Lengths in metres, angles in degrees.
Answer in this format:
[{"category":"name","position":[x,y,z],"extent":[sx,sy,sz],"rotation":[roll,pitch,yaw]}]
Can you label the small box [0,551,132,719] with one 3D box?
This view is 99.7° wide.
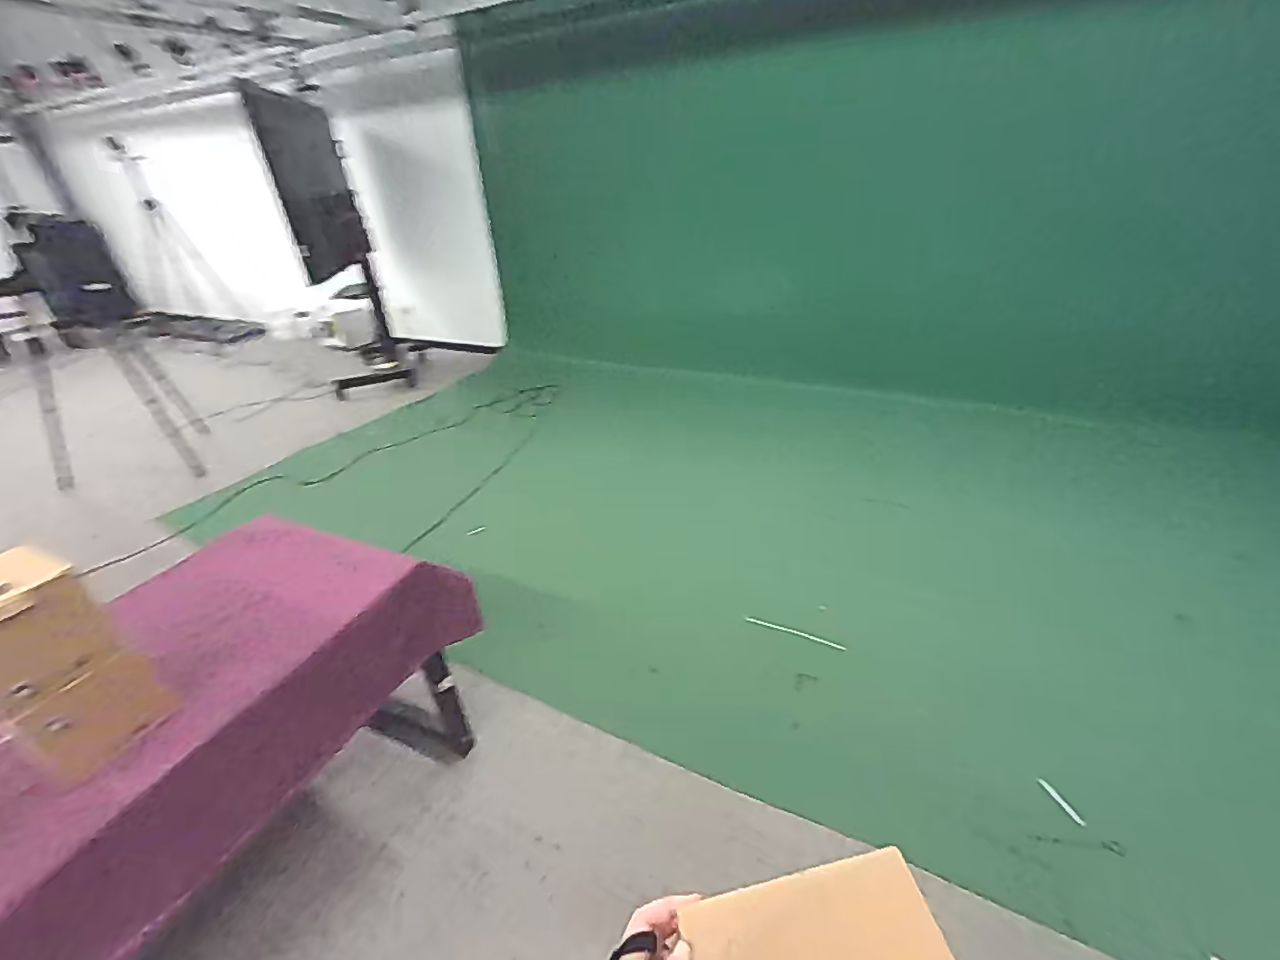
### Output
[{"category":"small box","position":[-0.962,0.239,0.843],"extent":[0.179,0.176,0.168],"rotation":[8,32,24]}]
